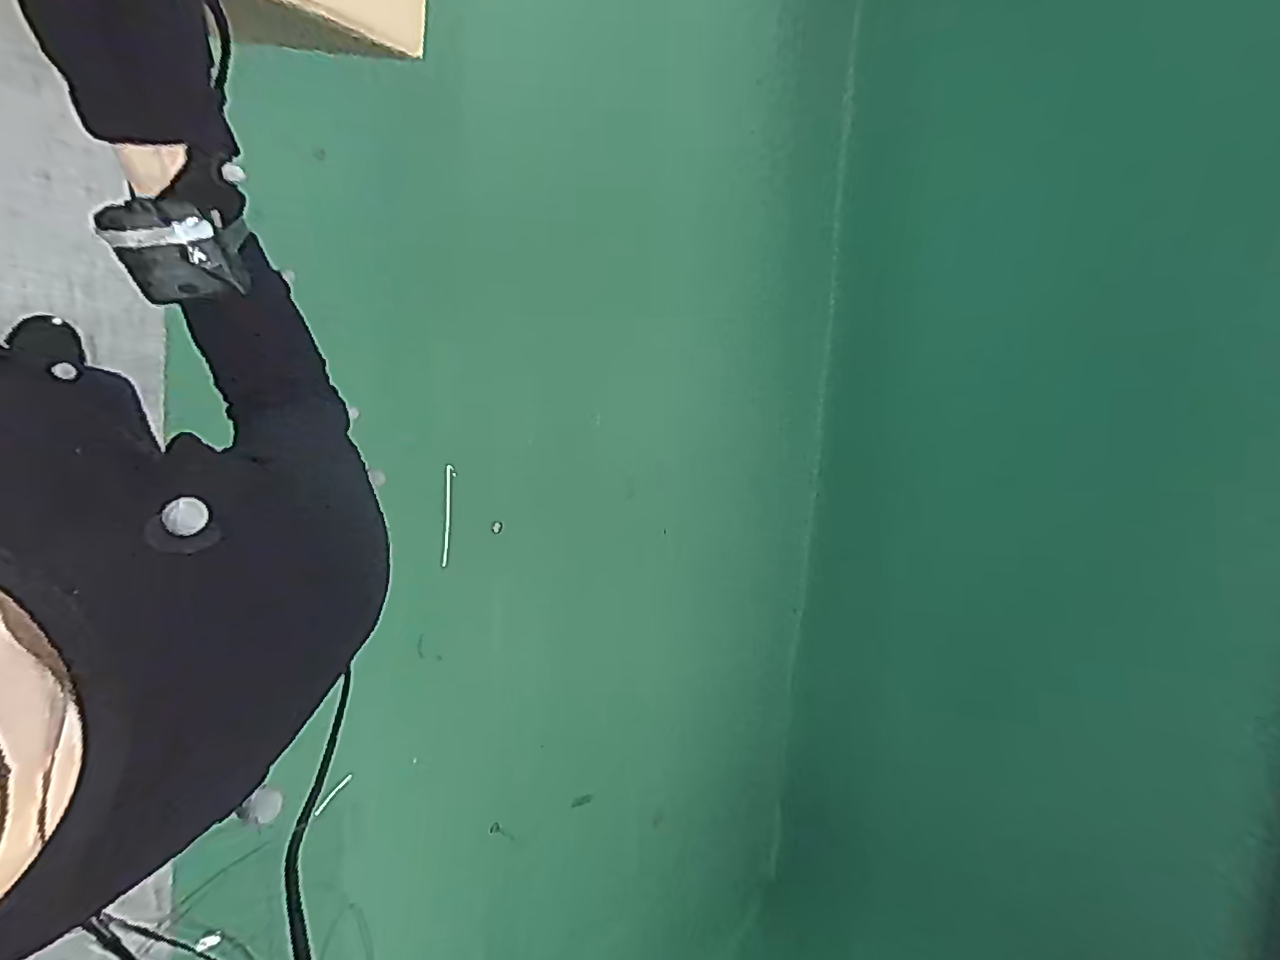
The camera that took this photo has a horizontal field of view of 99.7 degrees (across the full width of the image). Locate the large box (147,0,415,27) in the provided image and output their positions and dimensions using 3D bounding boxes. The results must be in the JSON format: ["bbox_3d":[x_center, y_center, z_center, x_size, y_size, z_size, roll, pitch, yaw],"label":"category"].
[{"bbox_3d":[-0.325,-0.505,0.240,0.320,0.320,0.408,-25,134,-54],"label":"large box"}]
